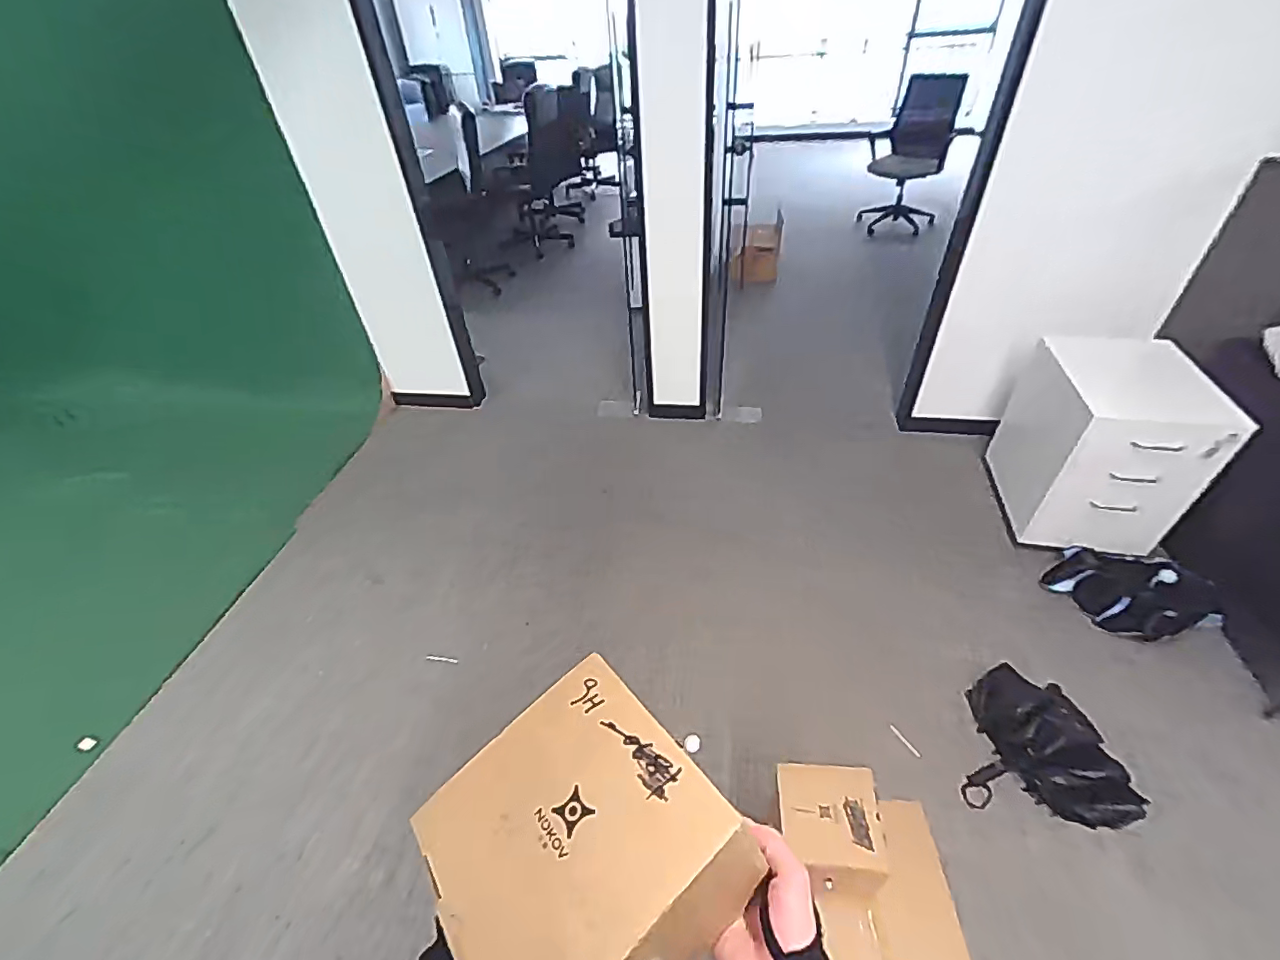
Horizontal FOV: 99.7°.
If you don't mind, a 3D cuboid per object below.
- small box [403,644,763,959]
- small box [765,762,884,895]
[{"bbox_3d":[-0.028,0.266,0.395,0.179,0.176,0.168,-40,46,-19],"label":"small box"},{"bbox_3d":[0.333,0.652,1.012,0.179,0.176,0.168,-1,40,8],"label":"small box"}]
